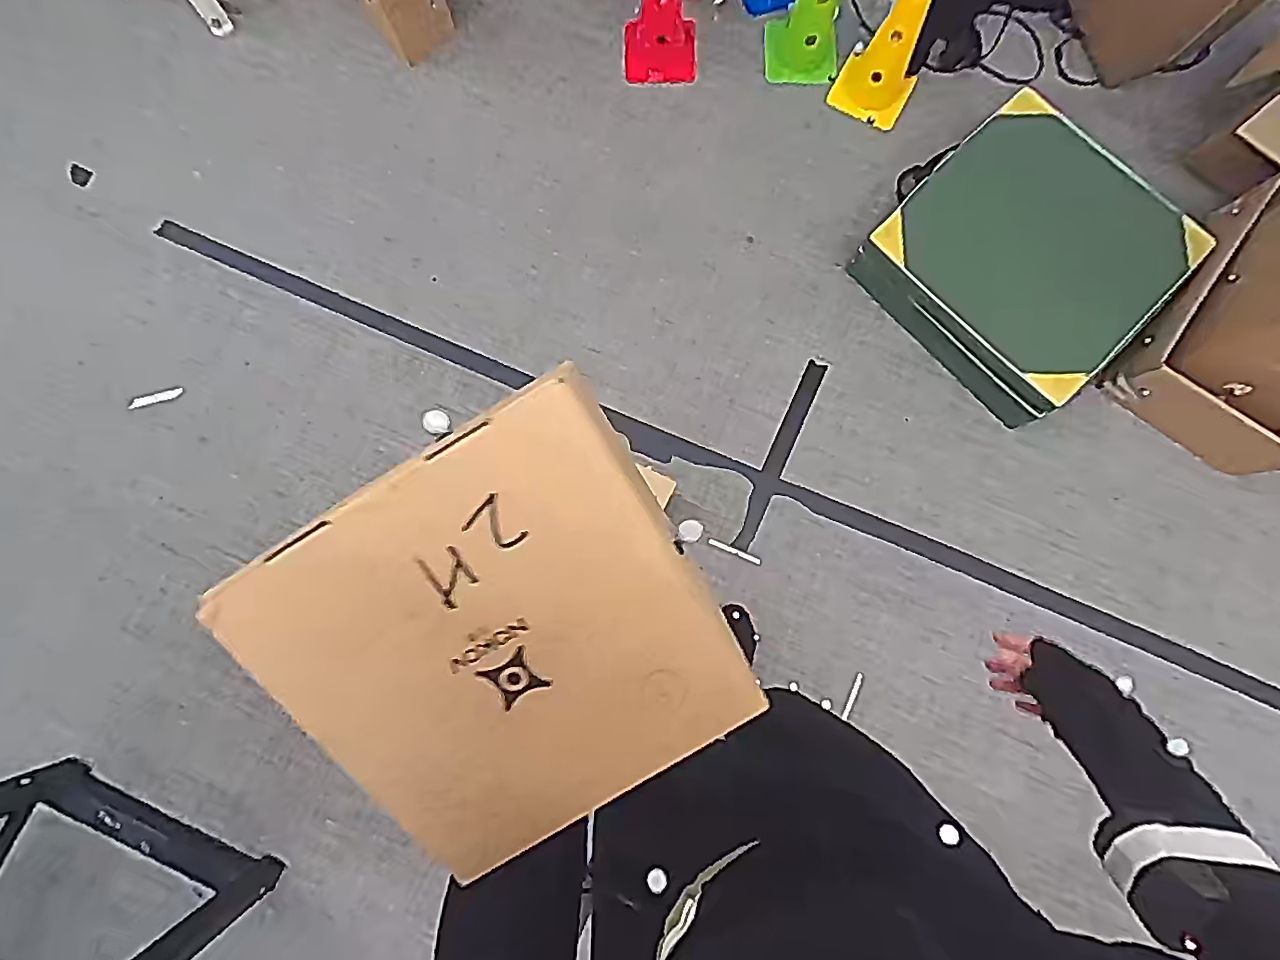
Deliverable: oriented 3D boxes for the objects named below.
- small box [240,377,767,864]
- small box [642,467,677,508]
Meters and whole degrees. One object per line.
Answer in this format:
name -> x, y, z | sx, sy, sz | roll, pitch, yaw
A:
small box -> -0.058, 0.055, 0.313 | 0.168, 0.176, 0.179 | -32, 105, 1
small box -> -0.028, 0.053, 1.267 | 0.179, 0.176, 0.168 | 26, 82, 5
